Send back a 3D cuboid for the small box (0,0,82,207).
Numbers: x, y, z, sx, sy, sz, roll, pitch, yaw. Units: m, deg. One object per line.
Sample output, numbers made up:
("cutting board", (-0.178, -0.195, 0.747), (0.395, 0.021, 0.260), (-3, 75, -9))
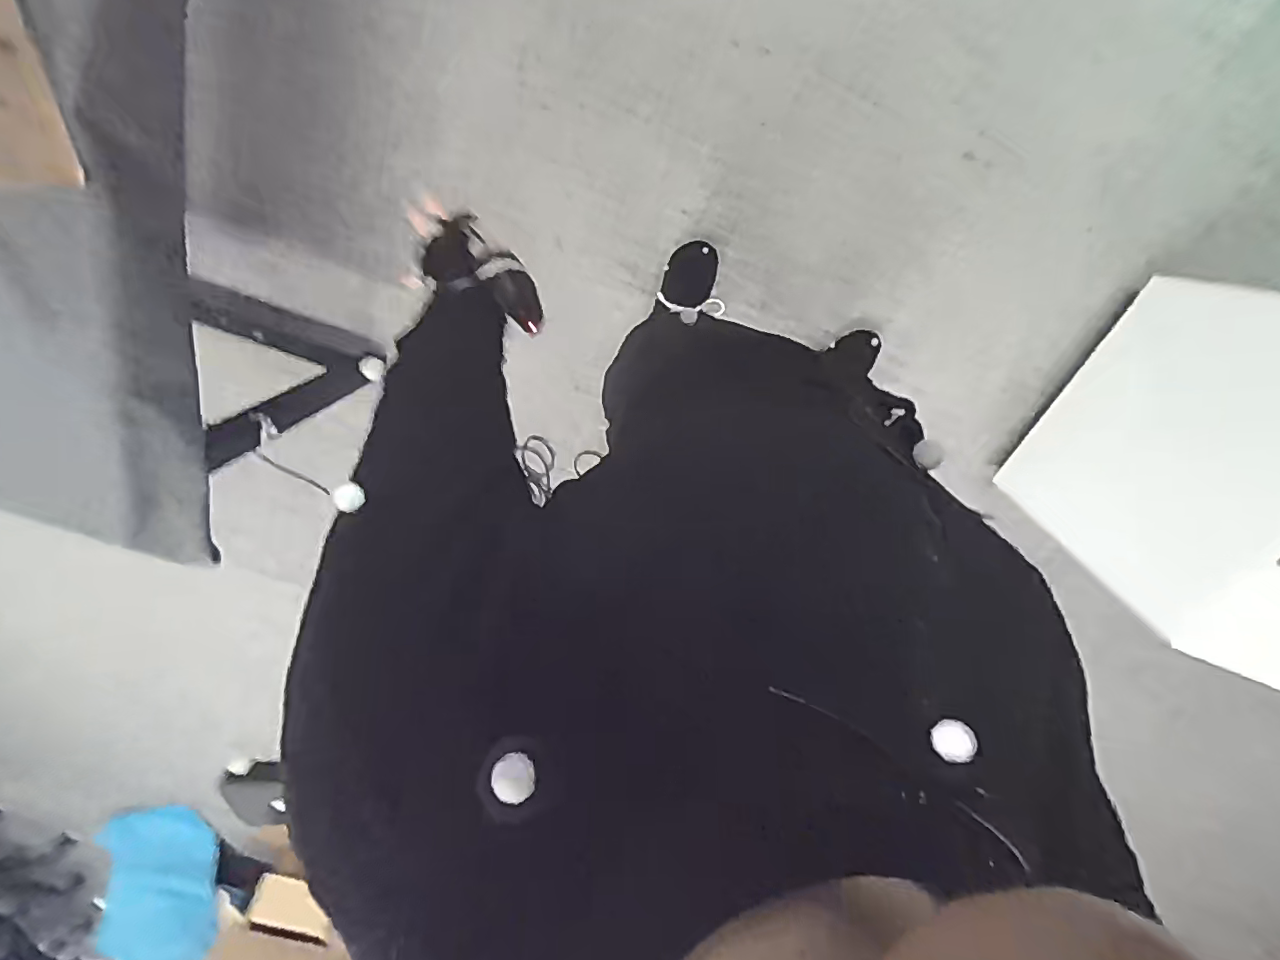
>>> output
("small box", (-0.627, -0.310, 0.426), (0.179, 0.176, 0.168), (3, 117, 5))
